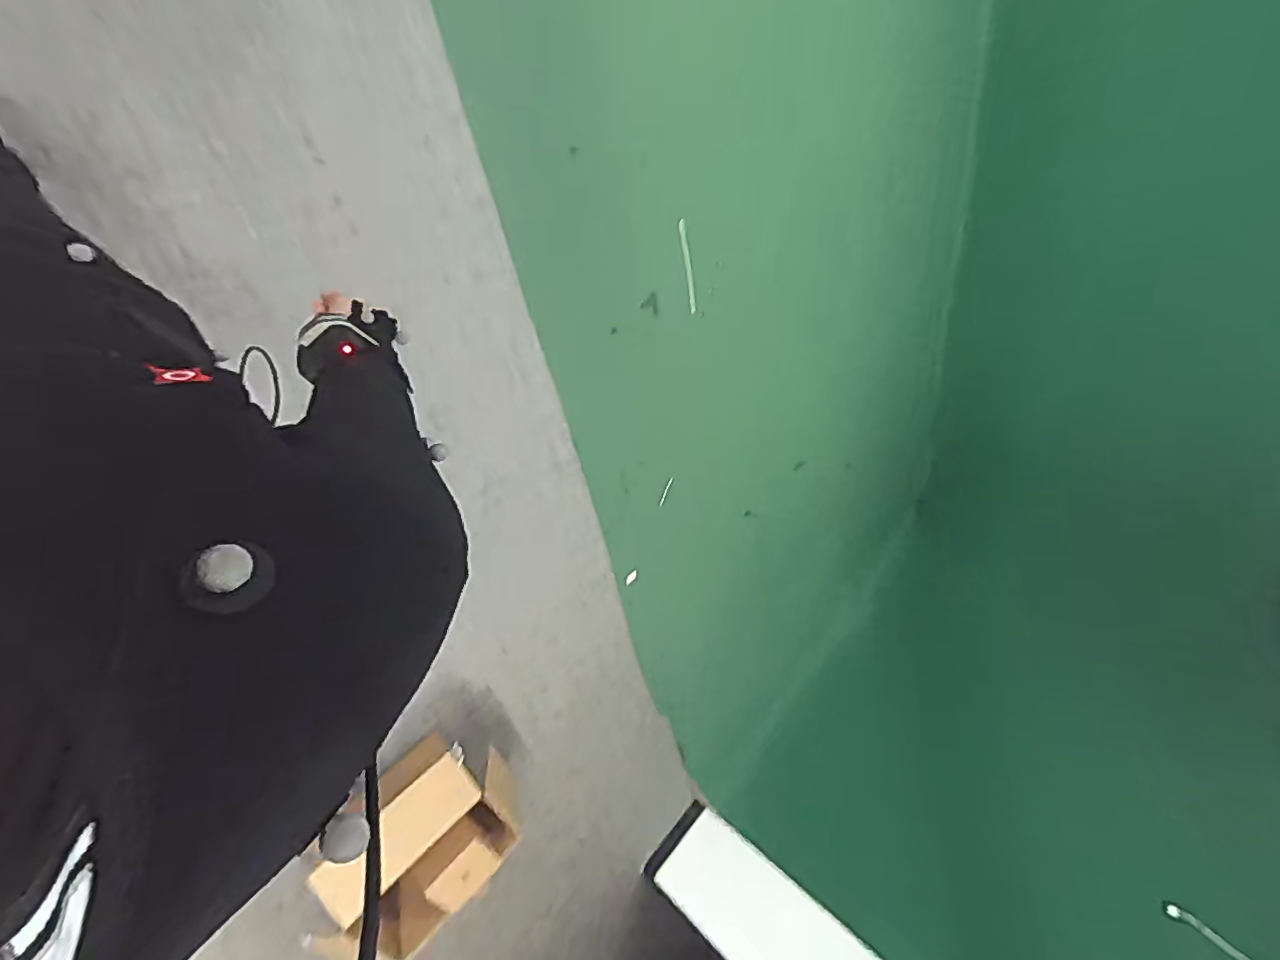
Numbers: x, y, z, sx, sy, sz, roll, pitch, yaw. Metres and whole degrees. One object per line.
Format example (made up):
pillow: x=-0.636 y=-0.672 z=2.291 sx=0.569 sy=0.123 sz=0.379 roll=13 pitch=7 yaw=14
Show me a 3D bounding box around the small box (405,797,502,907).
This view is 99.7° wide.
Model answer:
small box: x=-0.528 y=1.044 z=1.529 sx=0.168 sy=0.176 sz=0.179 roll=-39 pitch=130 yaw=-27
